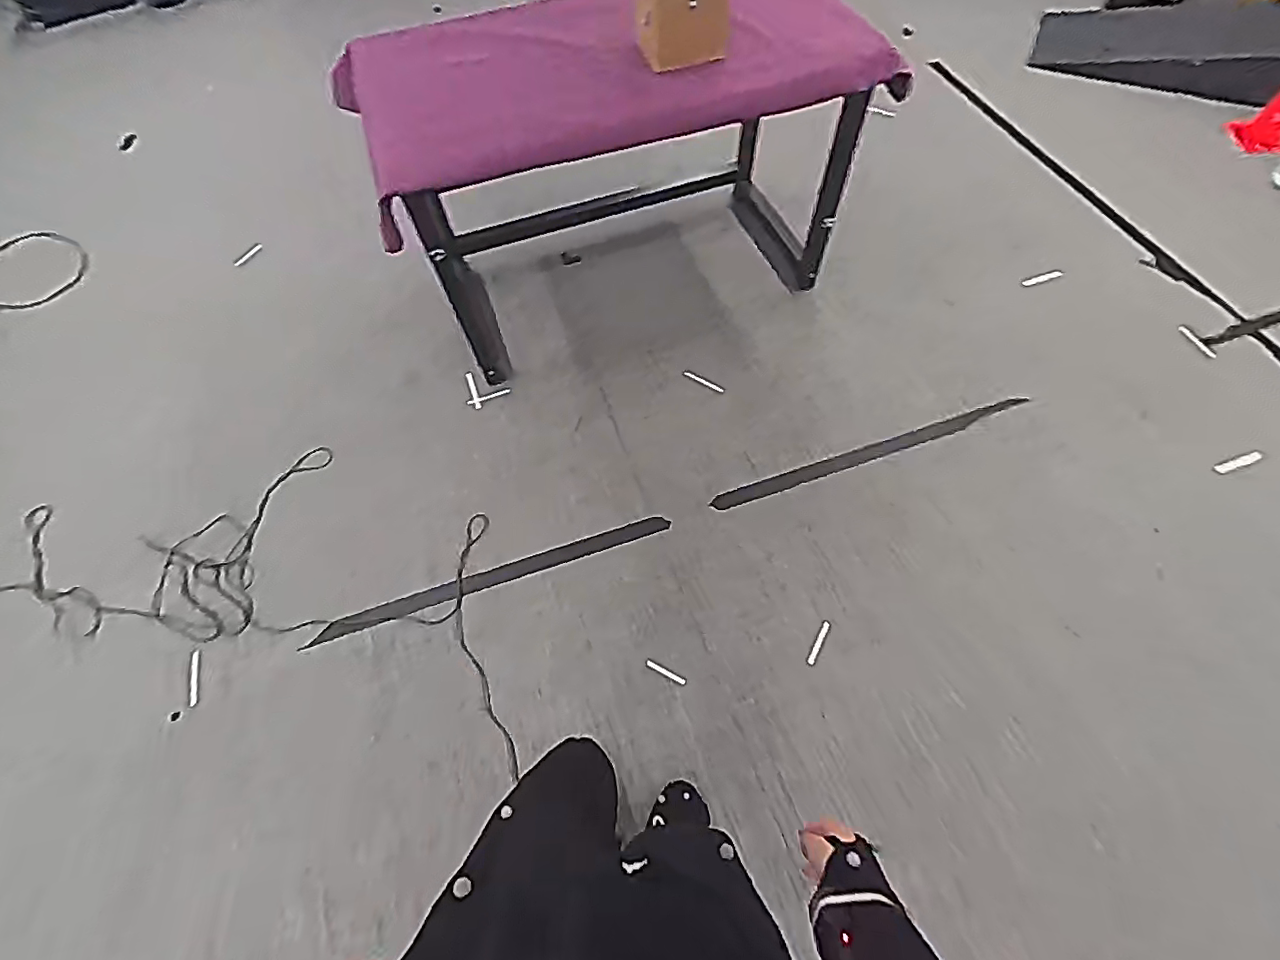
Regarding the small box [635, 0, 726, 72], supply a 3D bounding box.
[{"bbox_3d":[0.091,-1.074,1.238,0.179,0.176,0.168,-17,64,-6],"label":"small box"}]
